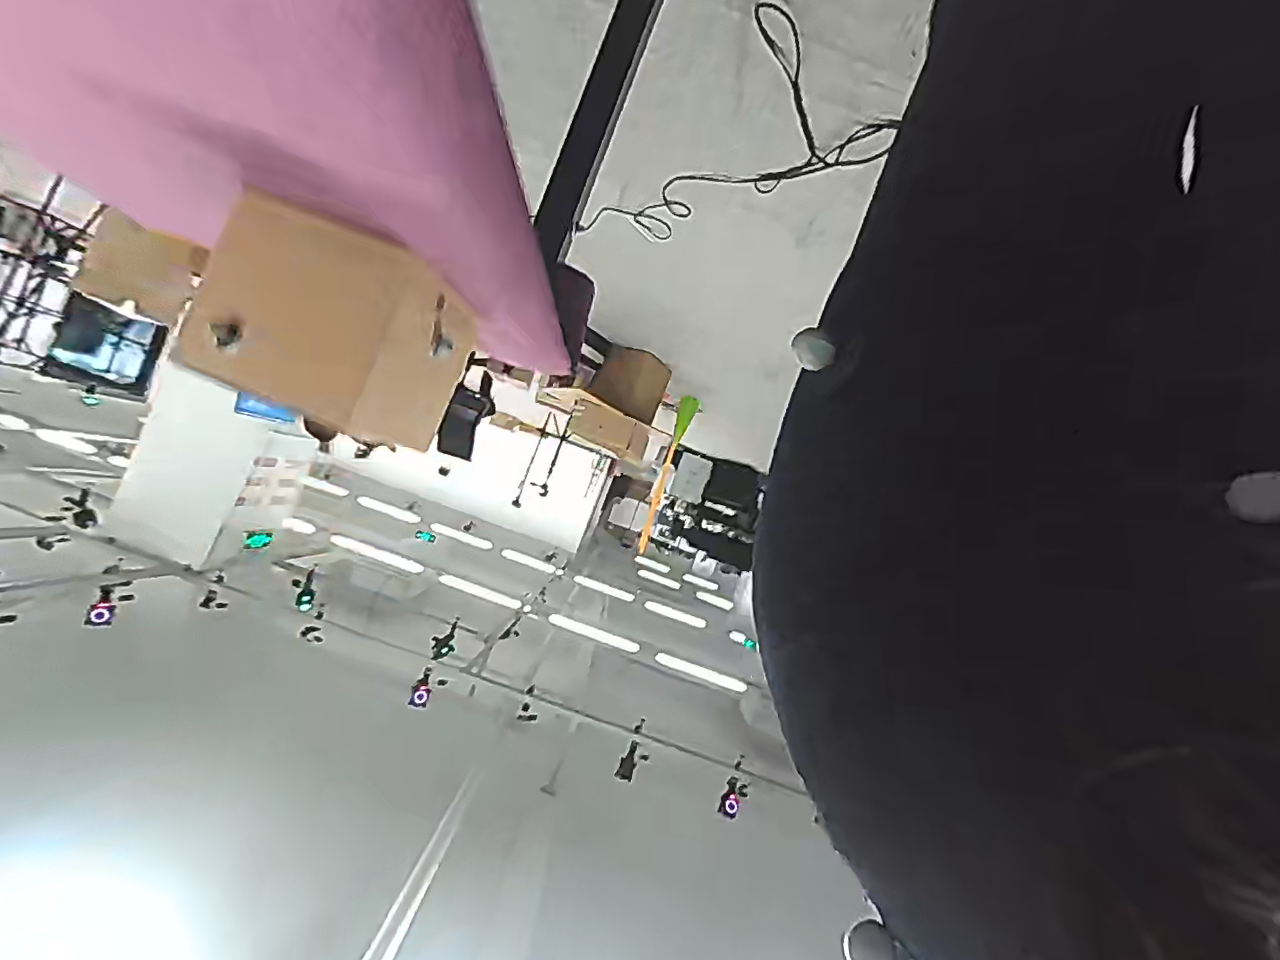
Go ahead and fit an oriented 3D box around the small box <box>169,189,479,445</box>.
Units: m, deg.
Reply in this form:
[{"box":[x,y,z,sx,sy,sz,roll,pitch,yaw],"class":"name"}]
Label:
[{"box":[-0.290,-0.151,0.537,0.179,0.176,0.168,21,178,2],"class":"small box"}]
